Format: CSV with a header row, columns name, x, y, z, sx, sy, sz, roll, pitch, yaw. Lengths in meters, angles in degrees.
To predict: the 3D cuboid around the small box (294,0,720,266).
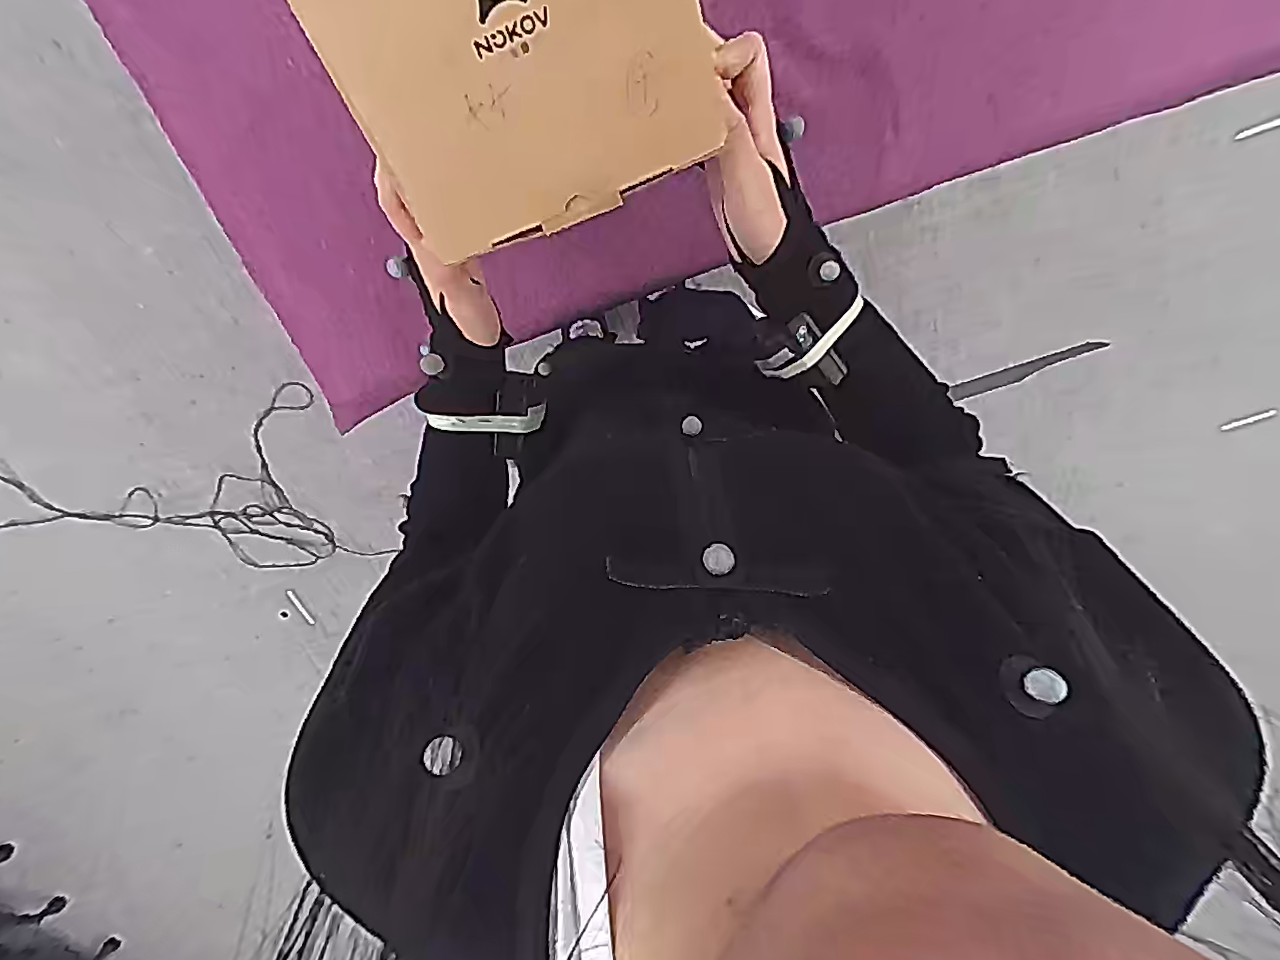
name,x,y,z,sx,sy,sz,roll,pitch,yaw
small box,-0.067,-0.254,0.302,0.168,0.176,0.179,-19,126,8
